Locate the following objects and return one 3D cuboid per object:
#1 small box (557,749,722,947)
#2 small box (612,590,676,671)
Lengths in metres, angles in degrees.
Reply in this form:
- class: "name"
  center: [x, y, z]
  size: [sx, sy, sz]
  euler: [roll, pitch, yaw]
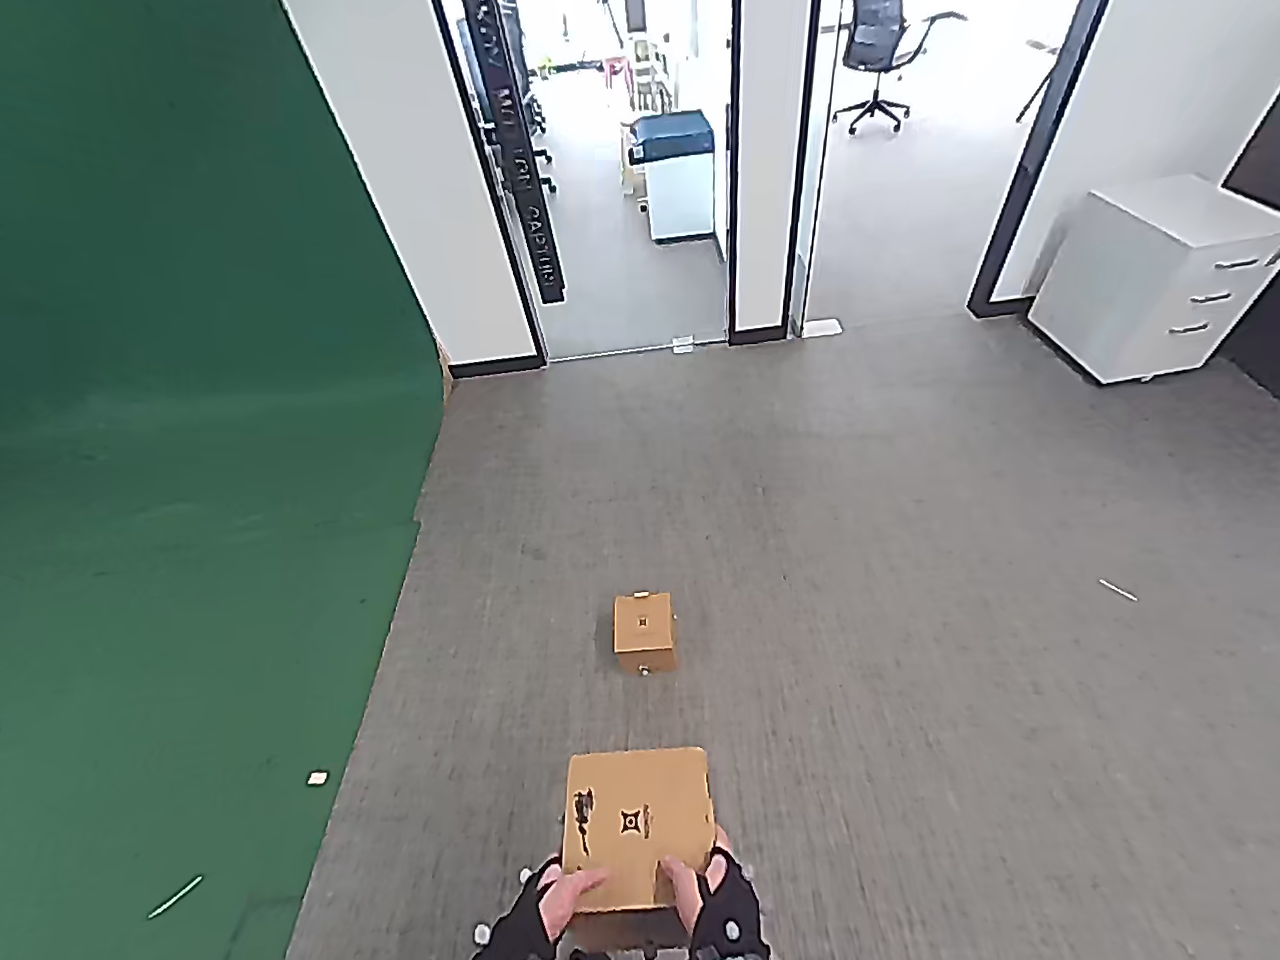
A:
- class: "small box"
  center: [0.003, 0.459, 0.678]
  size: [0.179, 0.176, 0.168]
  euler: [-3, 38, 2]
- class: "small box"
  center: [0.015, 0.445, 1.596]
  size: [0.168, 0.176, 0.179]
  euler: [-5, 48, 7]
